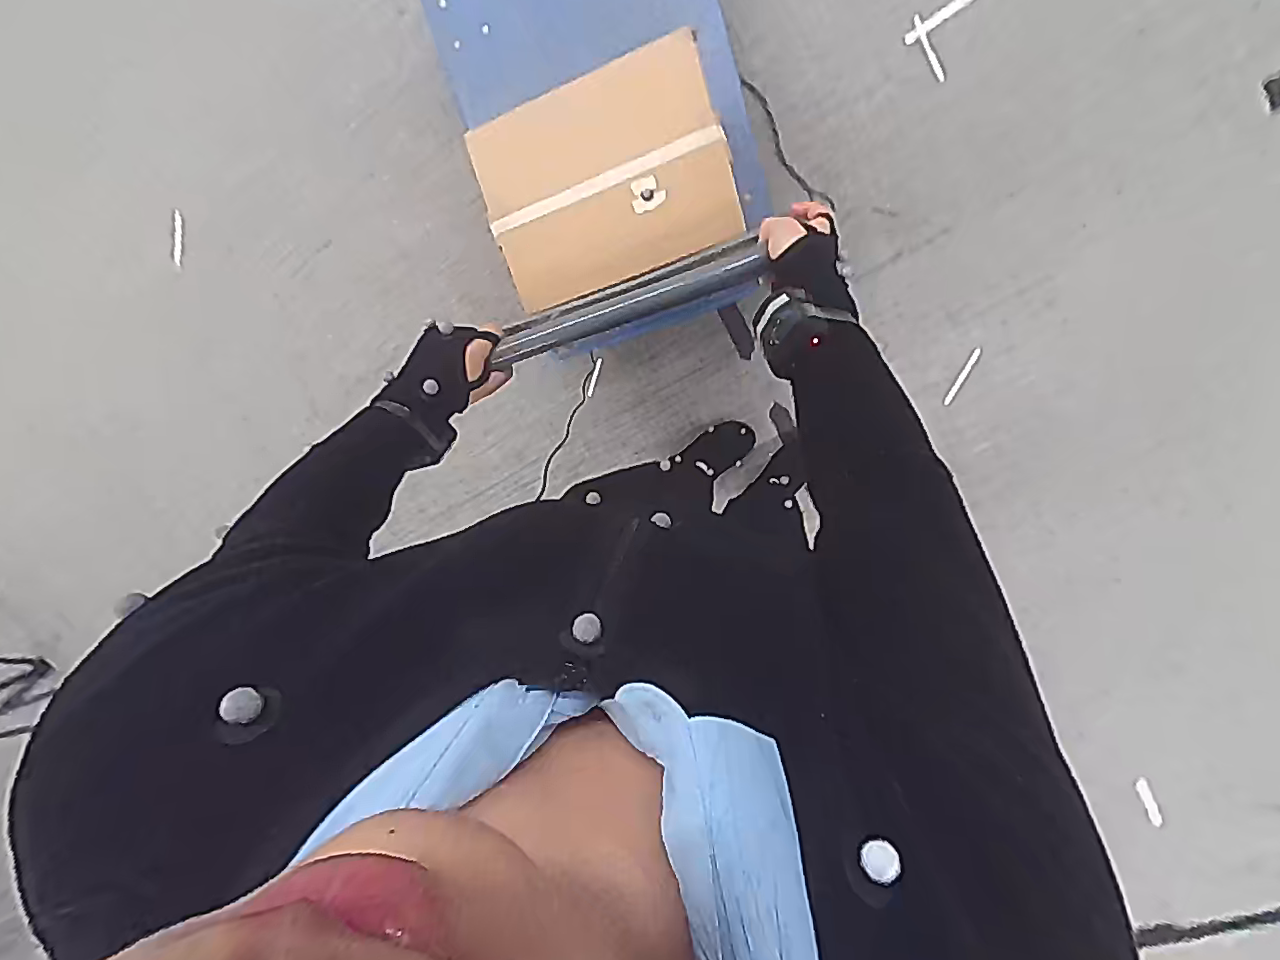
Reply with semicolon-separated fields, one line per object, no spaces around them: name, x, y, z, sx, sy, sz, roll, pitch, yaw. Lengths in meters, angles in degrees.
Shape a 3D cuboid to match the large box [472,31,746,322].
large box;-0.034;-0.526;1.041;0.408;0.320;0.320;-16;101;13
